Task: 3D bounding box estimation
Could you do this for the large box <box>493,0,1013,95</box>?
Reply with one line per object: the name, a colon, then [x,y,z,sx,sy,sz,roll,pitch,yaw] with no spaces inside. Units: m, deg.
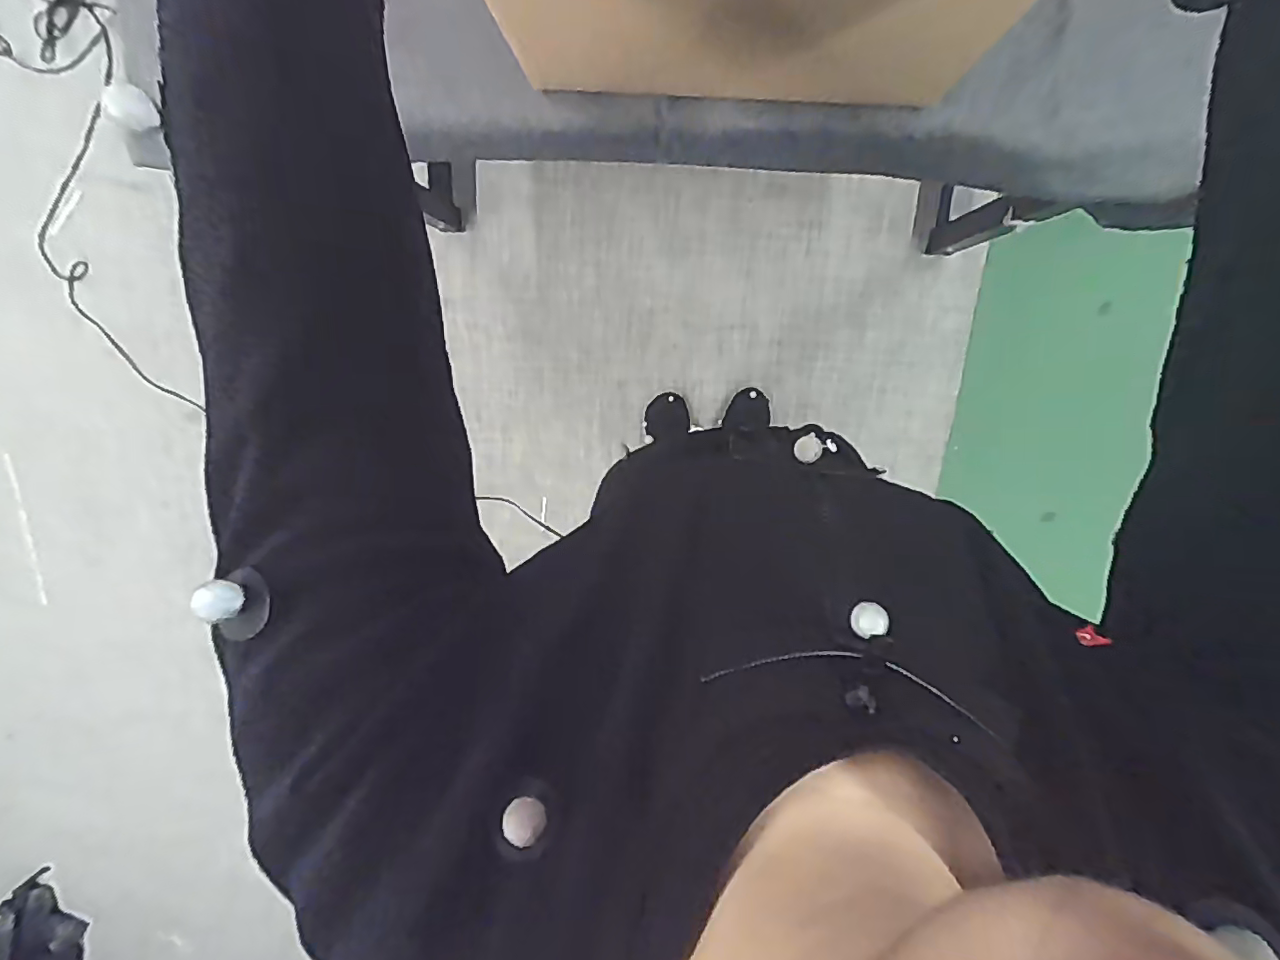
large box: [0.085,-0.505,0.366,0.408,0.320,0.320,4,102,2]
